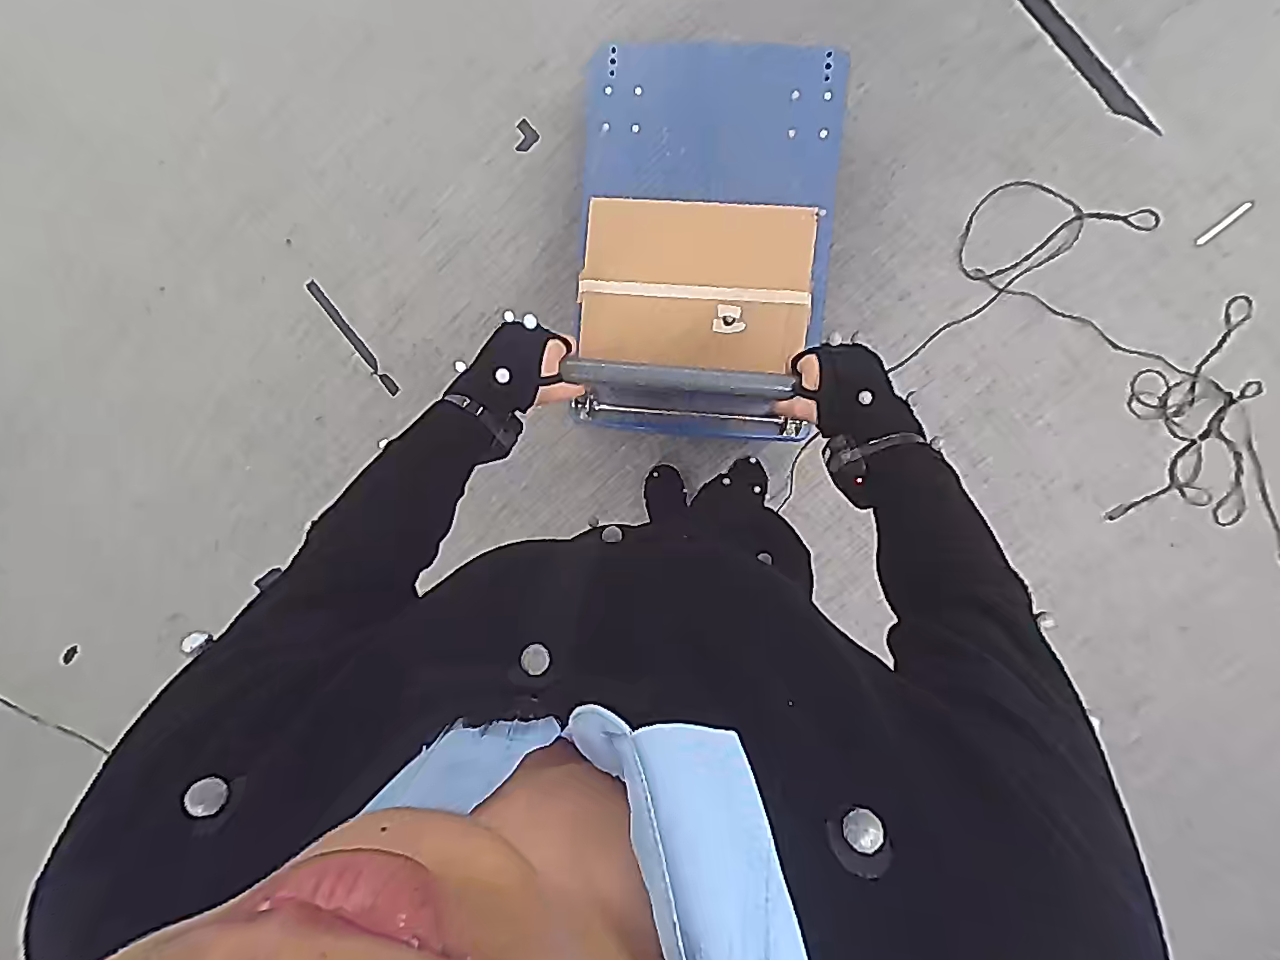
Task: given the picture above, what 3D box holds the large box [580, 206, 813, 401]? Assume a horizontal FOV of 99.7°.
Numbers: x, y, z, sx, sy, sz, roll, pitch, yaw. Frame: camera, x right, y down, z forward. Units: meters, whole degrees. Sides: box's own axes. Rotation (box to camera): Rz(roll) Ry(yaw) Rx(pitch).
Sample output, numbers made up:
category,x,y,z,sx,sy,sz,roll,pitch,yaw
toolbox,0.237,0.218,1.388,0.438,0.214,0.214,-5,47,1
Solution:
category,x,y,z,sx,sy,sz,roll,pitch,yaw
large box,0.106,-0.338,1.119,0.408,0.320,0.320,5,96,4
